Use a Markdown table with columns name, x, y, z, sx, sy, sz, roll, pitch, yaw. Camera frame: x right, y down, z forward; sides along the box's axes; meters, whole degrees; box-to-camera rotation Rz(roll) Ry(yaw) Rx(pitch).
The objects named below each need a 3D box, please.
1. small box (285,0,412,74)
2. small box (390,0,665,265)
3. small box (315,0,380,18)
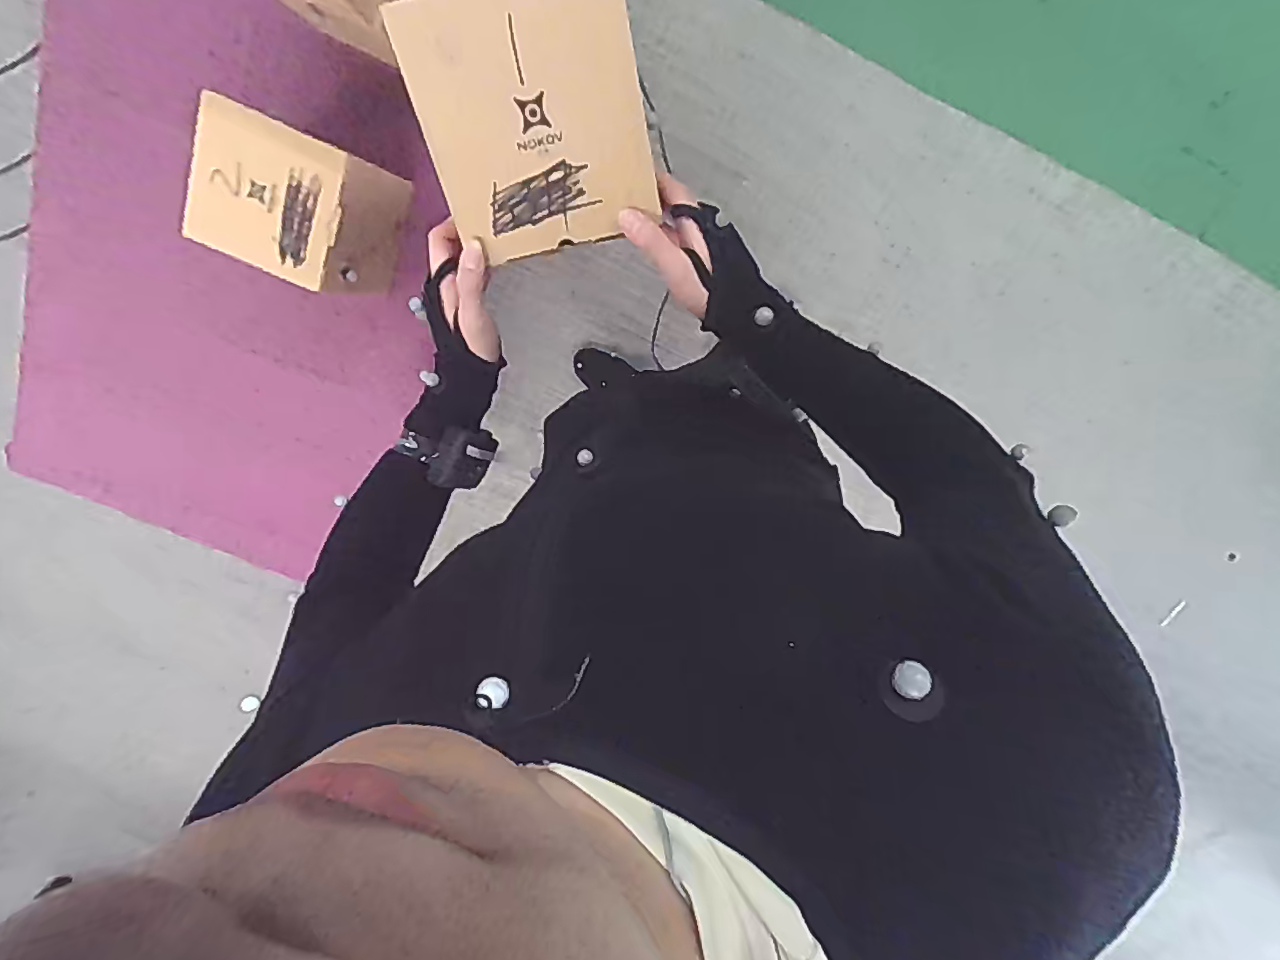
| name | x | y | z | sx | sy | sz | roll | pitch | yaw |
| --- | --- | --- | --- | --- | --- | --- | --- | --- | --- |
| small box | -0.321 | -0.608 | 0.621 | 0.179 | 0.176 | 0.168 | 24 | 108 | -5 |
| small box | -0.076 | -0.306 | 0.468 | 0.168 | 0.176 | 0.179 | -11 | 120 | 3 |
| small box | -0.332 | -0.558 | 0.467 | 0.179 | 0.176 | 0.168 | 23 | 107 | -5 |
